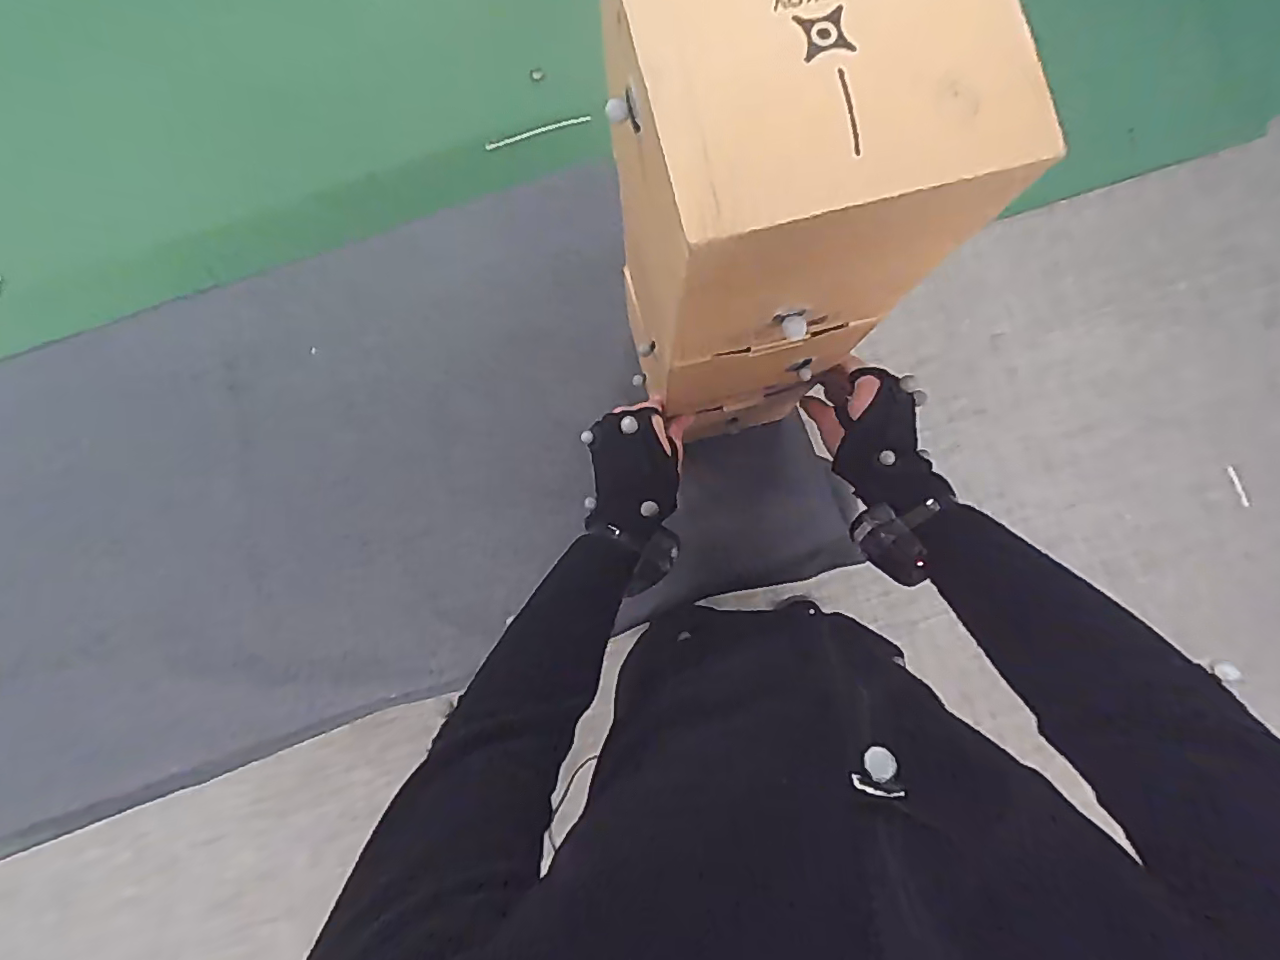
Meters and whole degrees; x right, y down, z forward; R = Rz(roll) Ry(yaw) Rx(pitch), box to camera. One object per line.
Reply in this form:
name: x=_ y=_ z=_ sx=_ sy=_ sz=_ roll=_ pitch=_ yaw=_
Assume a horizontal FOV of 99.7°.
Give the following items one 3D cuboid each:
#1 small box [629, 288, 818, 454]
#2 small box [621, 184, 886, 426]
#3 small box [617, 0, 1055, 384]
small box: x=0.090 y=-0.135 z=0.647 sx=0.168 sy=0.176 sz=0.179 roll=-15 pitch=84 yaw=0
small box: x=0.086 y=-0.157 z=0.486 sx=0.168 sy=0.176 sz=0.179 roll=-15 pitch=82 yaw=-1
small box: x=0.083 y=-0.177 z=0.323 sx=0.168 sy=0.176 sz=0.179 roll=-14 pitch=85 yaw=-1
